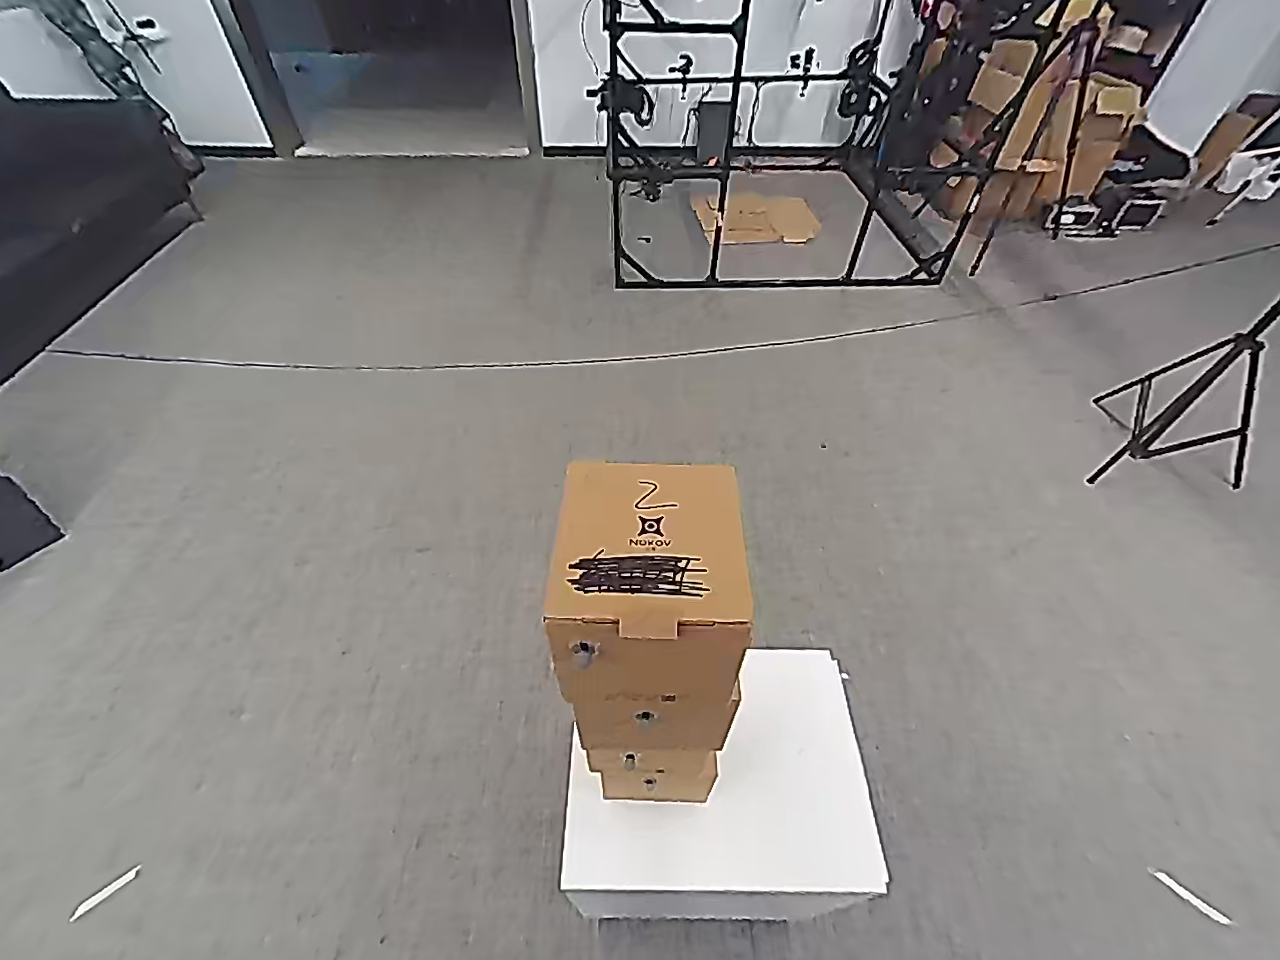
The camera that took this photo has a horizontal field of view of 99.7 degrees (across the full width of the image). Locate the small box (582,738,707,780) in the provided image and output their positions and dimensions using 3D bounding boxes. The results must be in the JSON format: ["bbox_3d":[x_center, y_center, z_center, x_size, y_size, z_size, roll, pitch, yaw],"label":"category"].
[{"bbox_3d":[0.013,0.319,0.787,0.168,0.176,0.179,3,47,2],"label":"small box"}]

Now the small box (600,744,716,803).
[{"bbox_3d":[0.028,0.429,0.906,0.179,0.176,0.168,3,47,0],"label":"small box"}]

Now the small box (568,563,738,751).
[{"bbox_3d":[0.015,0.217,0.657,0.179,0.176,0.168,1,48,0],"label":"small box"}]
